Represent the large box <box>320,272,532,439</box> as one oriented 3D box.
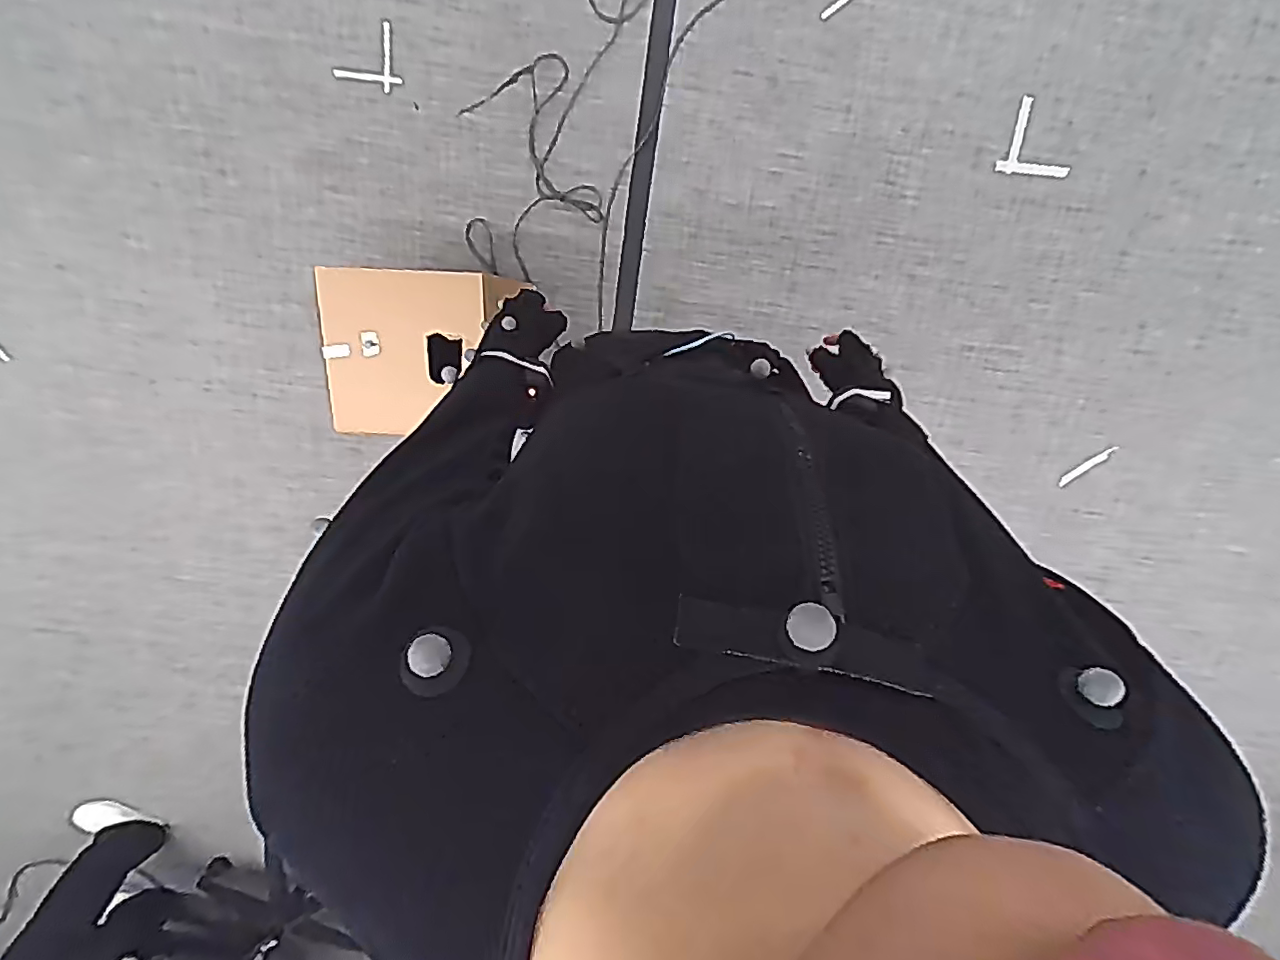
[{"bbox_3d":[-0.443,-0.295,1.220,0.320,0.408,0.320,4,108,0],"label":"large box"}]
